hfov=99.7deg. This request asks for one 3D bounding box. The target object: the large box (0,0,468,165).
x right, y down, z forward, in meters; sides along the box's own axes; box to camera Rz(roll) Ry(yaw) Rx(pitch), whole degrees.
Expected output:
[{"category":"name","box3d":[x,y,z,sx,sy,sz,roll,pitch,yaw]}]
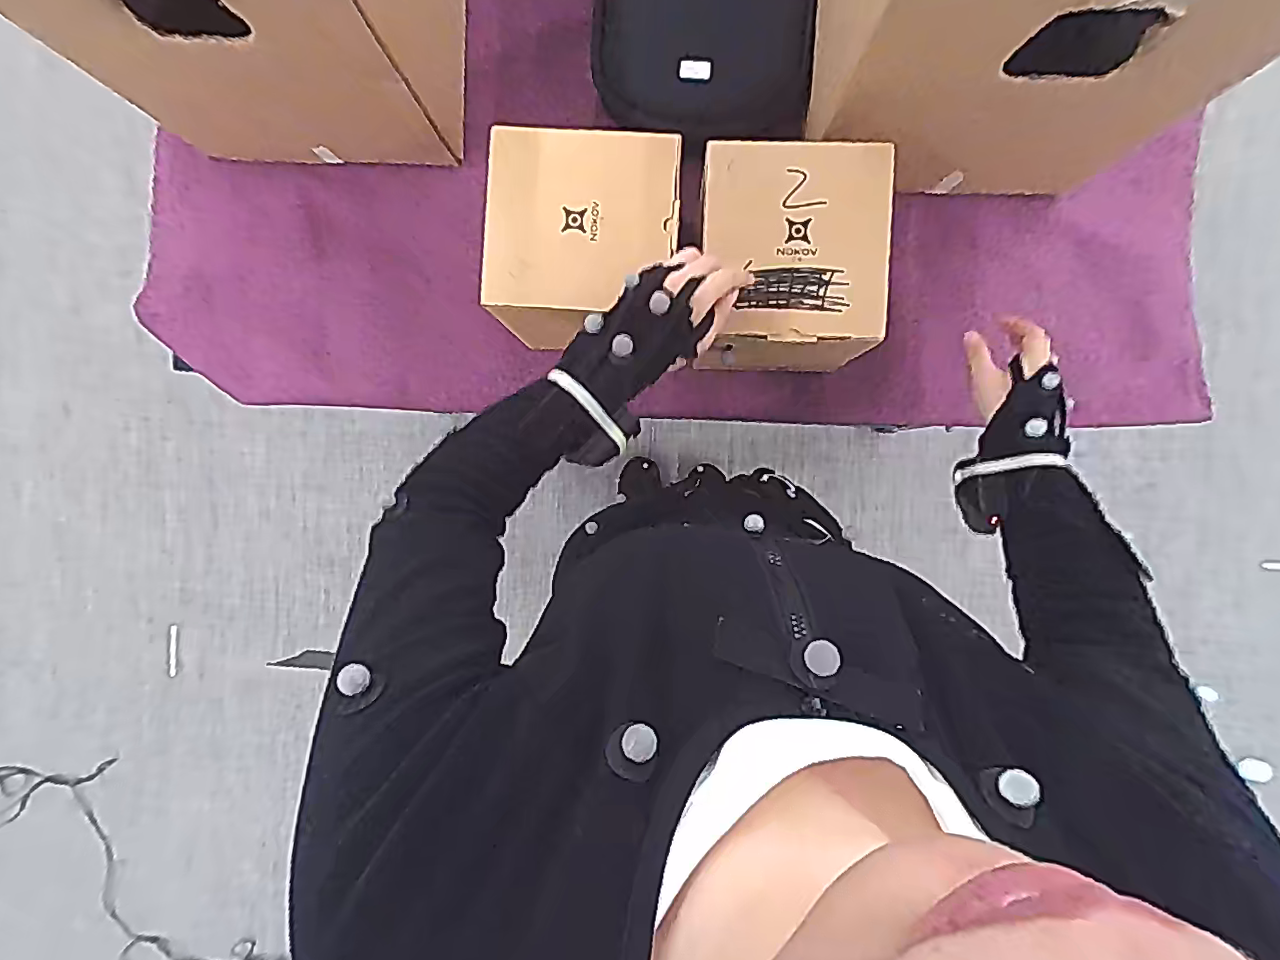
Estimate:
[{"category":"large box","box3d":[-0.359,-0.575,0.501,0.320,0.320,0.408,1,94,1]}]
